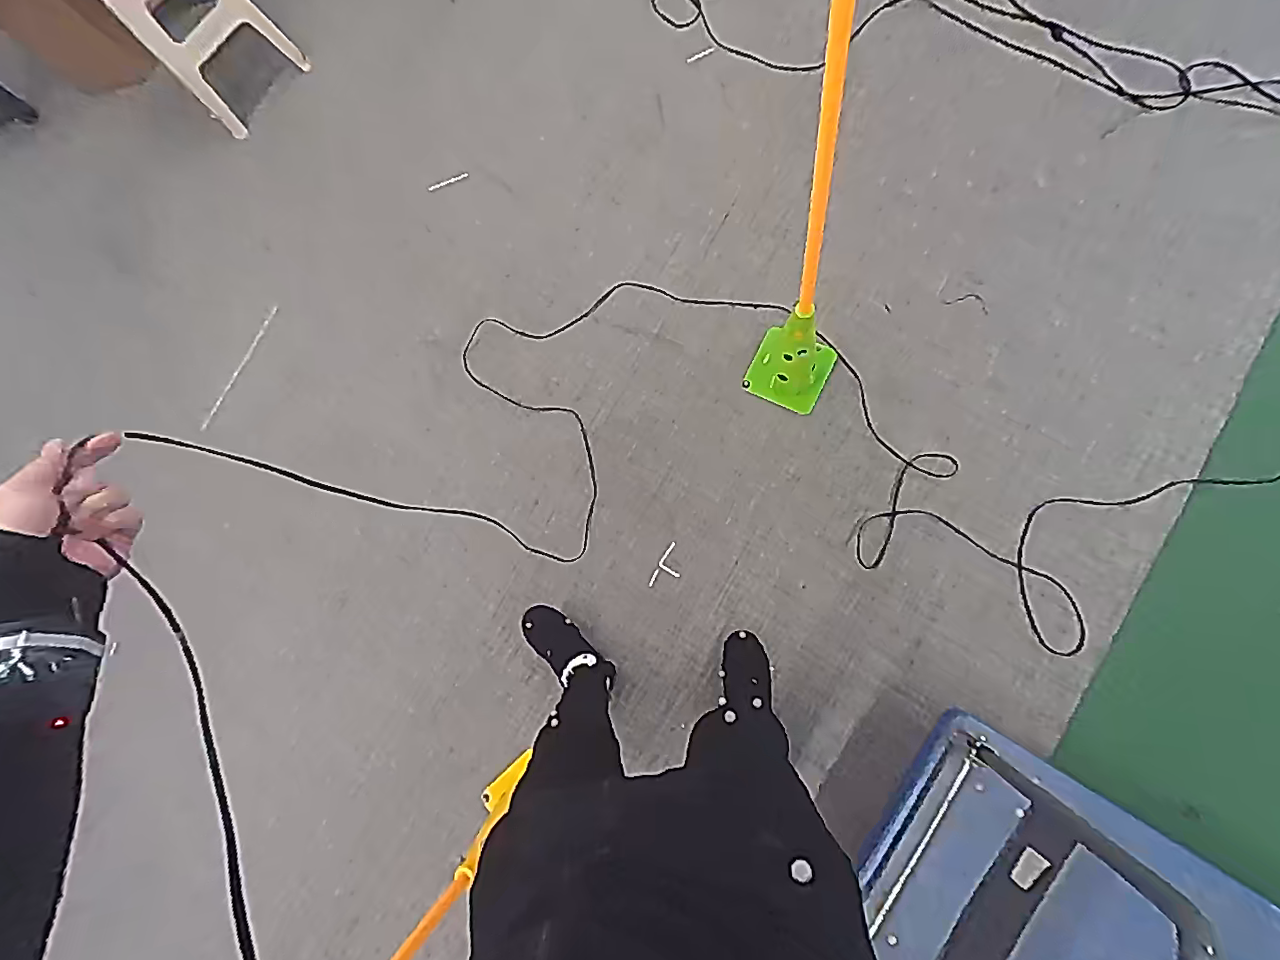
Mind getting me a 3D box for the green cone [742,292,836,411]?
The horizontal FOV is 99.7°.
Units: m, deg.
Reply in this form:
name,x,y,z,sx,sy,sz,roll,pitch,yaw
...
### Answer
name,x,y,z,sx,sy,sz,roll,pitch,yaw
green cone,0.372,-0.332,1.280,0.200,0.368,0.202,25,84,12
